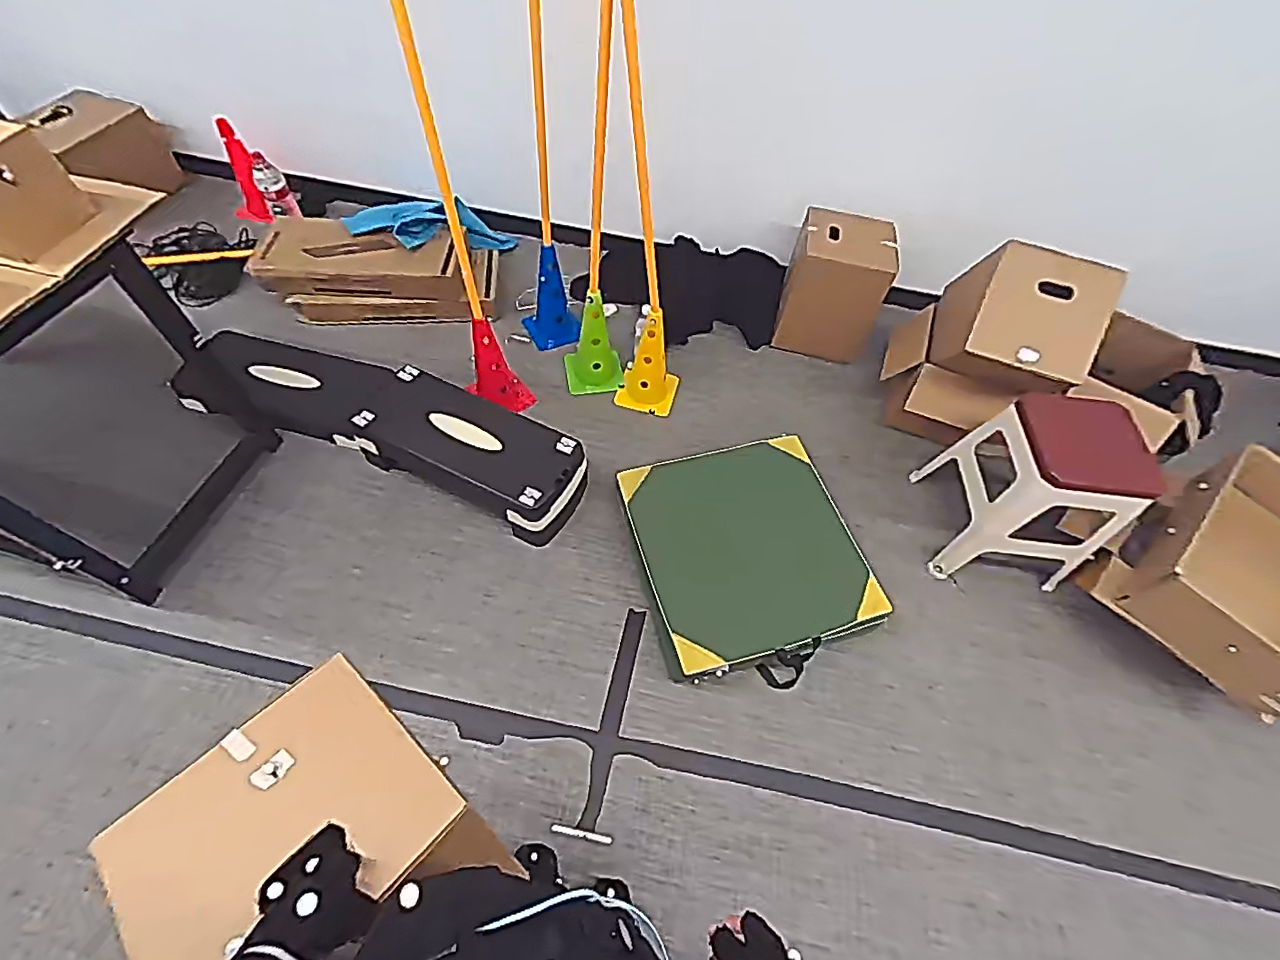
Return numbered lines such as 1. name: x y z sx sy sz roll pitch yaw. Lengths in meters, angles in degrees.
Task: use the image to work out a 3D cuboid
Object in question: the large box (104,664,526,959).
1. large box: -0.415 0.546 0.776 0.320 0.408 0.320 31 54 30
